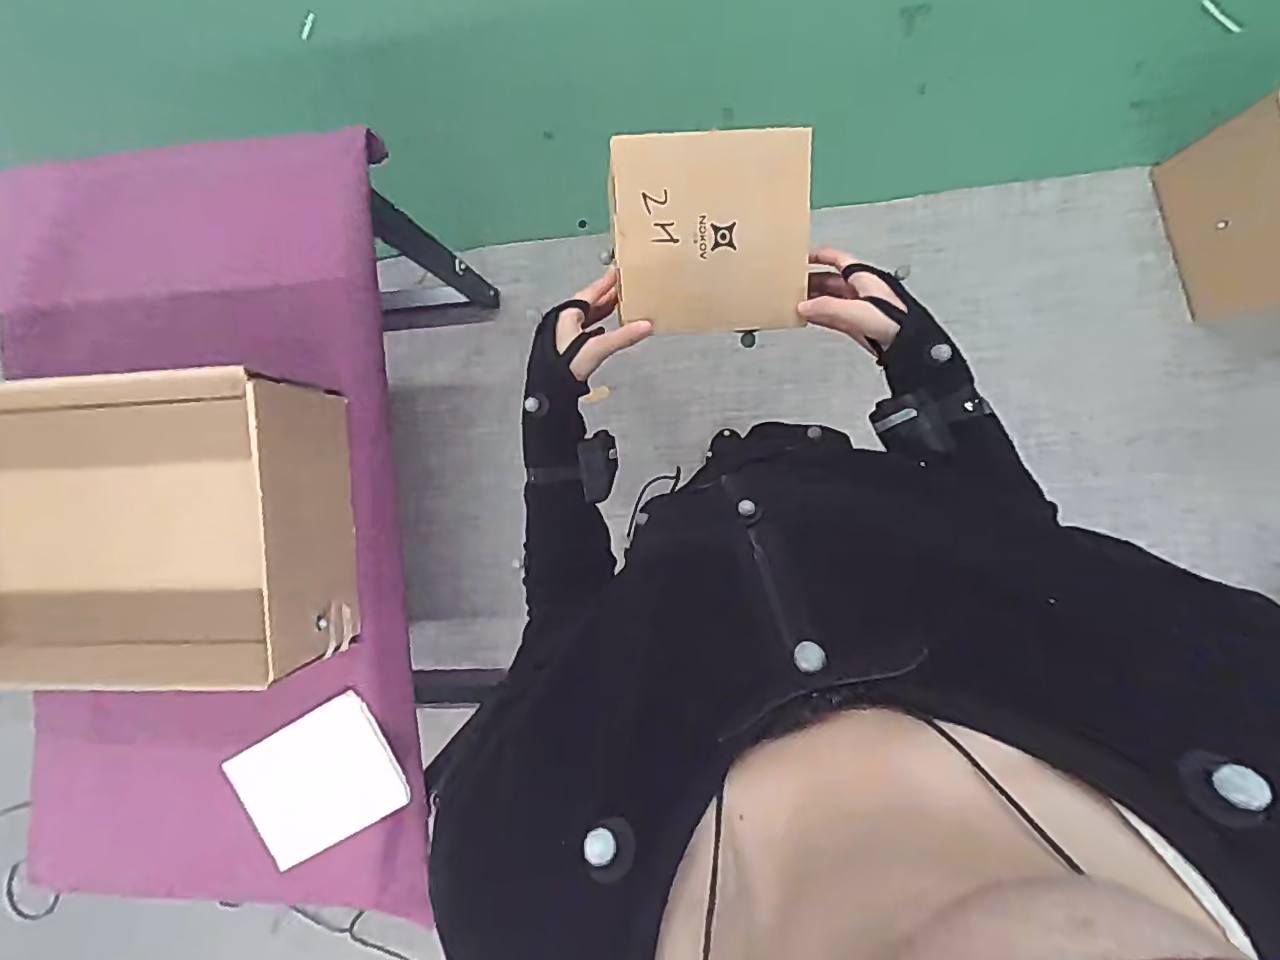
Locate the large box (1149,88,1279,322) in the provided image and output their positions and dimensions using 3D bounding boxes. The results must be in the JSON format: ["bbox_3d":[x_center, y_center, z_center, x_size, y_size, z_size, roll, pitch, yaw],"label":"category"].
[{"bbox_3d":[1.452,-0.620,1.182,0.320,0.320,0.408,-18,89,6],"label":"large box"}]

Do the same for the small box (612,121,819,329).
[{"bbox_3d":[0.064,-0.242,0.550,0.179,0.176,0.168,-4,105,-2],"label":"small box"}]
